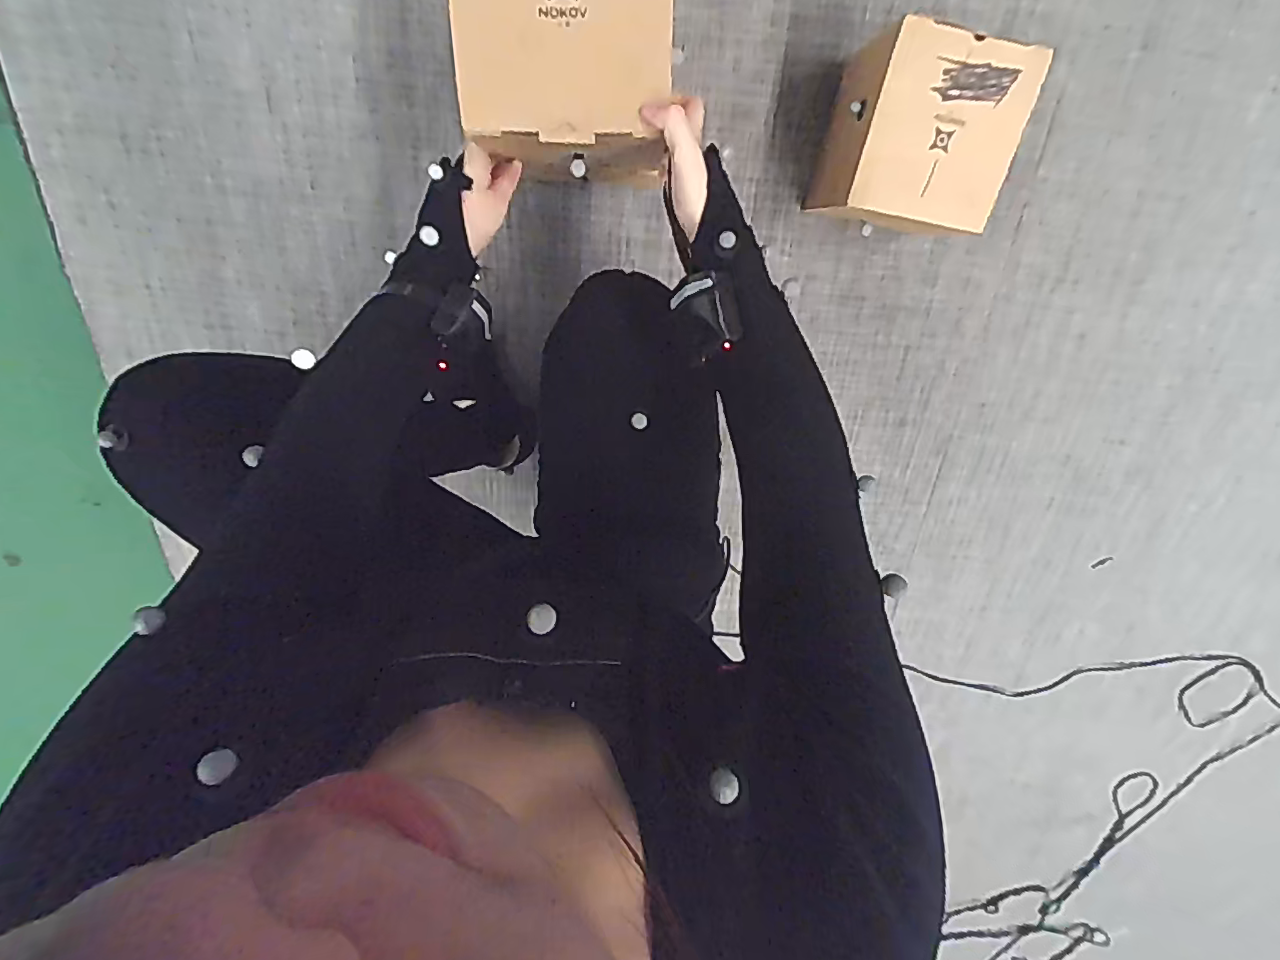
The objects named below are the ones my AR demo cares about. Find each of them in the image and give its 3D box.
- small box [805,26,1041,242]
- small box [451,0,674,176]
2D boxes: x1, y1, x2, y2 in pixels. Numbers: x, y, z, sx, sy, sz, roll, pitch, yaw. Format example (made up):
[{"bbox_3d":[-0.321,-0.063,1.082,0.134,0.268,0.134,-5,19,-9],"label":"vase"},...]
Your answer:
[{"bbox_3d":[0.320,-0.399,0.657,0.168,0.176,0.179,9,114,-5],"label":"small box"},{"bbox_3d":[-0.057,-0.373,0.472,0.168,0.176,0.179,0,113,-2],"label":"small box"}]
